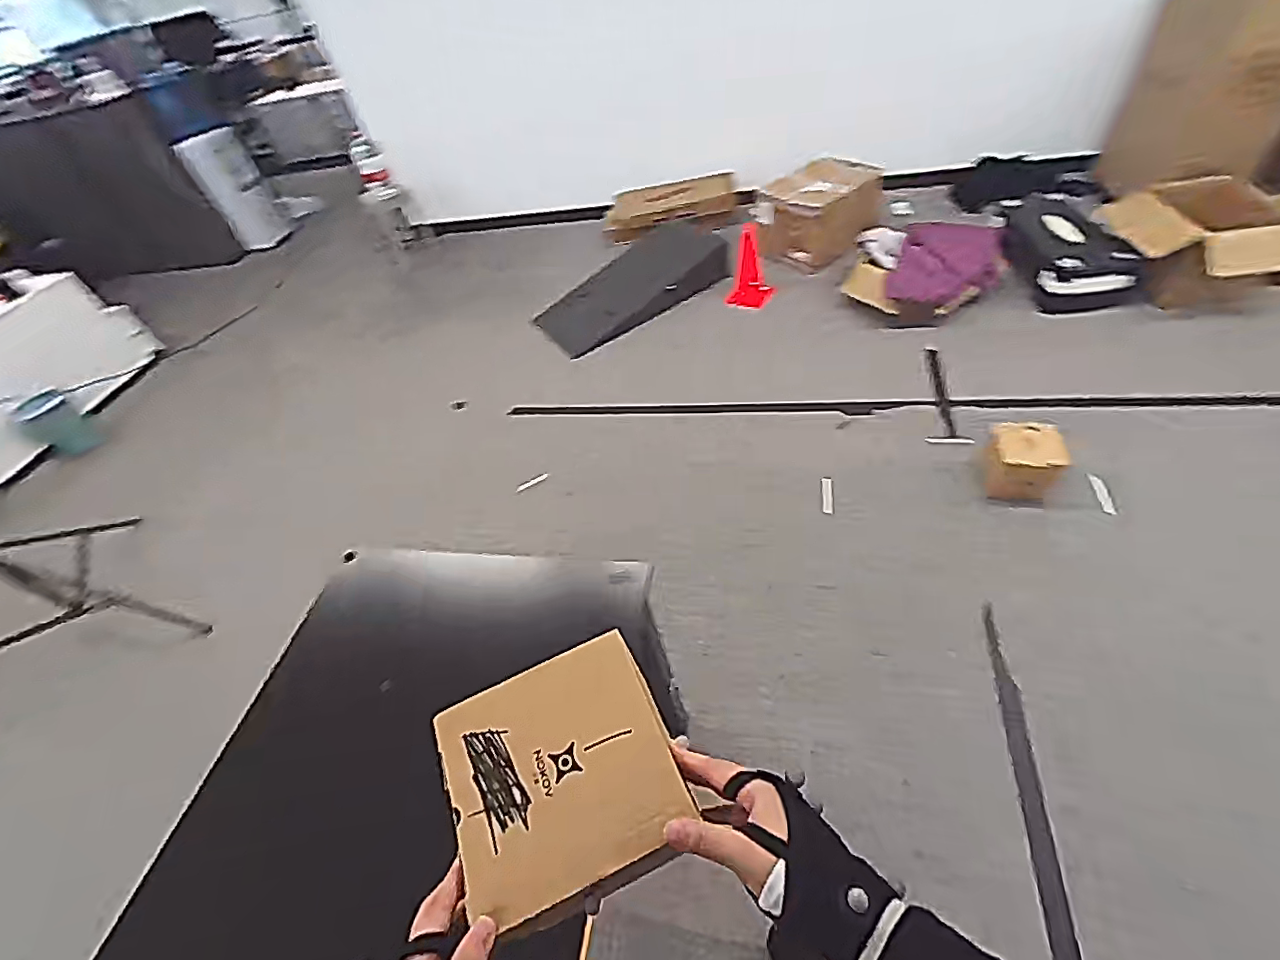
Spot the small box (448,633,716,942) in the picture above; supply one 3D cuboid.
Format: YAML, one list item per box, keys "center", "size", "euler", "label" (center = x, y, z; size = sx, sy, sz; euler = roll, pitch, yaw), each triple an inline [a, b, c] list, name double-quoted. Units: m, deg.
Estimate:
- center: [-0.044, 0.272, 0.487]
  size: [0.179, 0.176, 0.168]
  euler: [-23, 54, -7]
  label: "small box"

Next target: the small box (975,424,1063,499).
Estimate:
- center: [1.172, -0.056, 1.686]
  size: [0.168, 0.176, 0.179]
  euler: [3, 51, 15]
  label: "small box"
